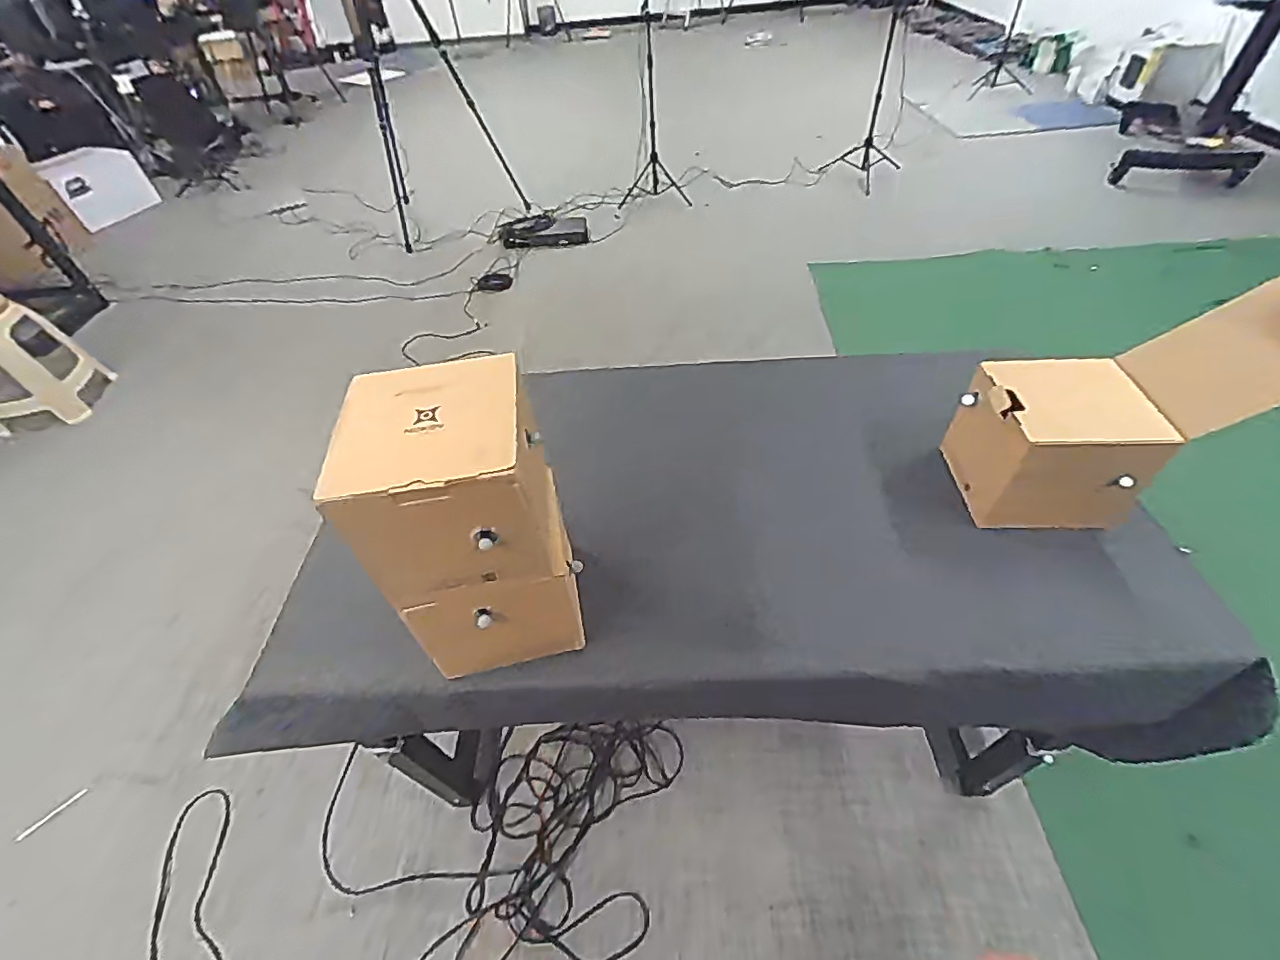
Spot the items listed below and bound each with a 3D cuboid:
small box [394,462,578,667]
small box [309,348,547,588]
[{"bbox_3d":[-0.175,0.106,0.665,0.179,0.176,0.168,-11,47,-5],"label":"small box"},{"bbox_3d":[-0.192,-0.006,0.548,0.168,0.176,0.179,-9,46,-4],"label":"small box"}]
